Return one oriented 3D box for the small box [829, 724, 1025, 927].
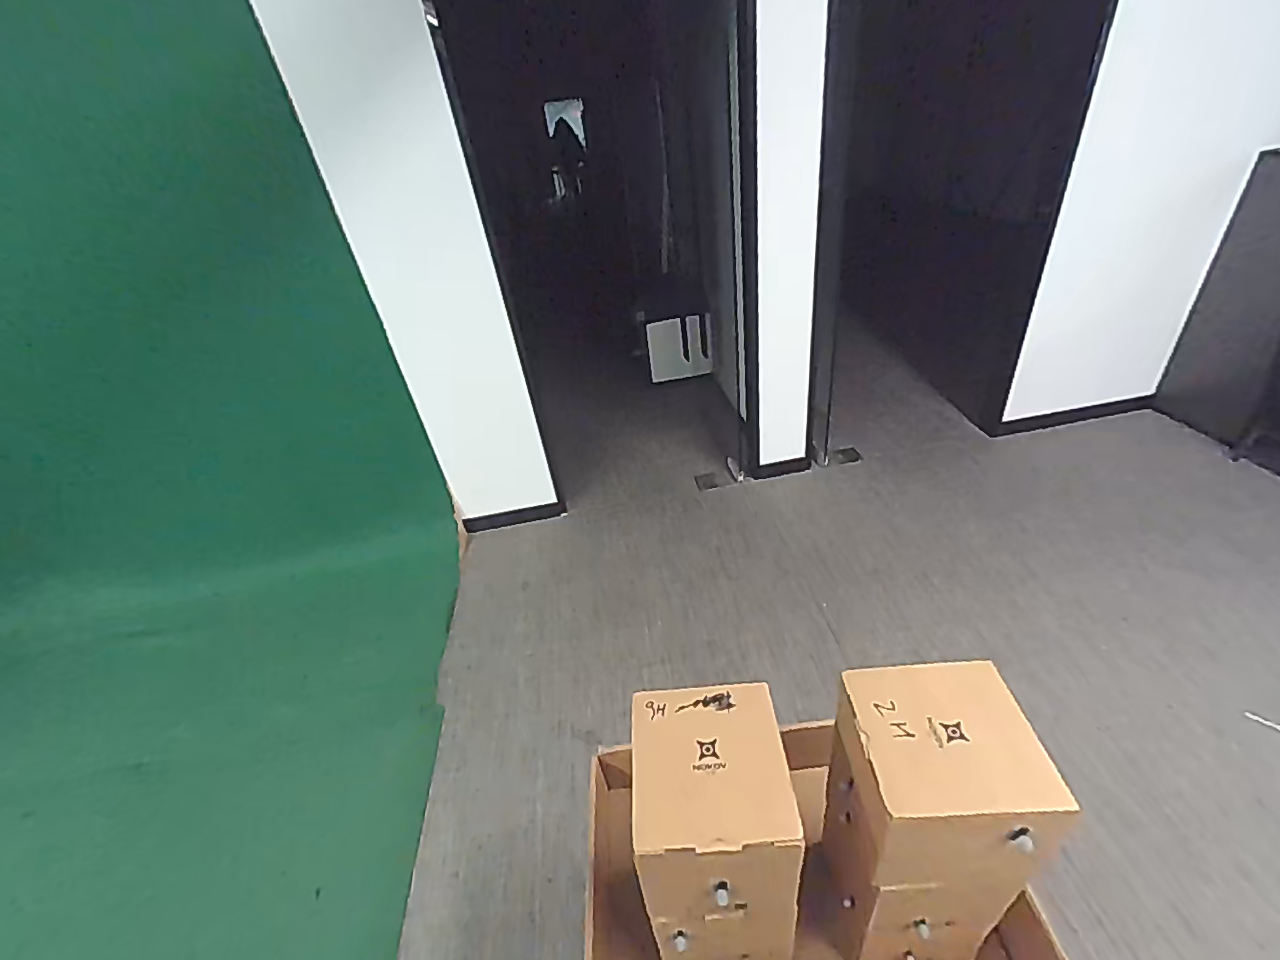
[{"bbox_3d":[0.358,0.456,0.718,0.168,0.176,0.179,-8,36,5],"label":"small box"}]
